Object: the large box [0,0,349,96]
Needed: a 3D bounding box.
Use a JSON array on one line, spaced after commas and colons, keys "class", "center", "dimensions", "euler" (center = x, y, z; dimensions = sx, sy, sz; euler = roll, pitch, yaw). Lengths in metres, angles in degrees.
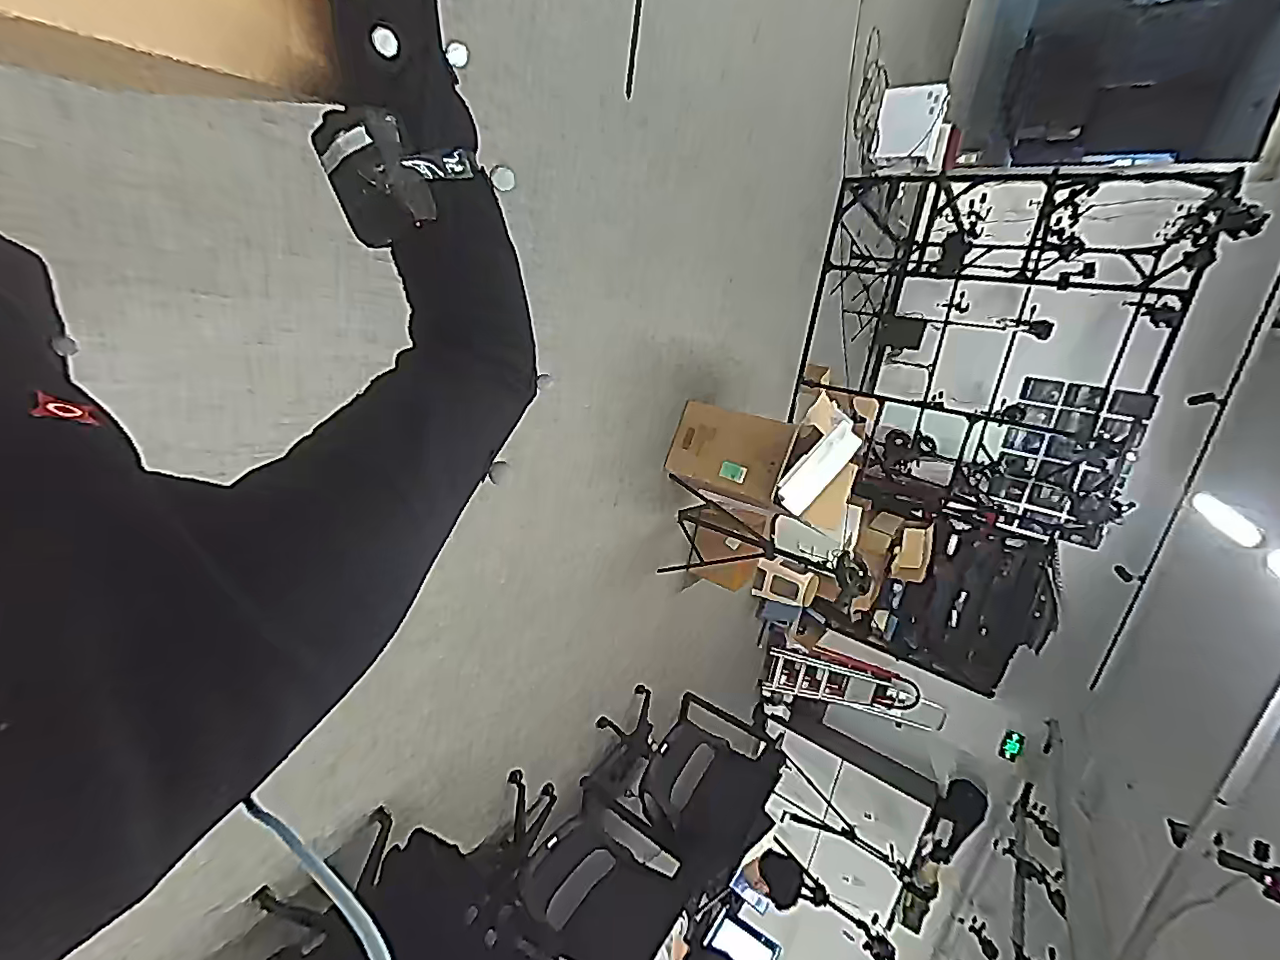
[{"class": "large box", "center": [-0.393, -0.366, 0.184], "dimensions": [0.408, 0.320, 0.320], "euler": [-29, 136, -53]}]
